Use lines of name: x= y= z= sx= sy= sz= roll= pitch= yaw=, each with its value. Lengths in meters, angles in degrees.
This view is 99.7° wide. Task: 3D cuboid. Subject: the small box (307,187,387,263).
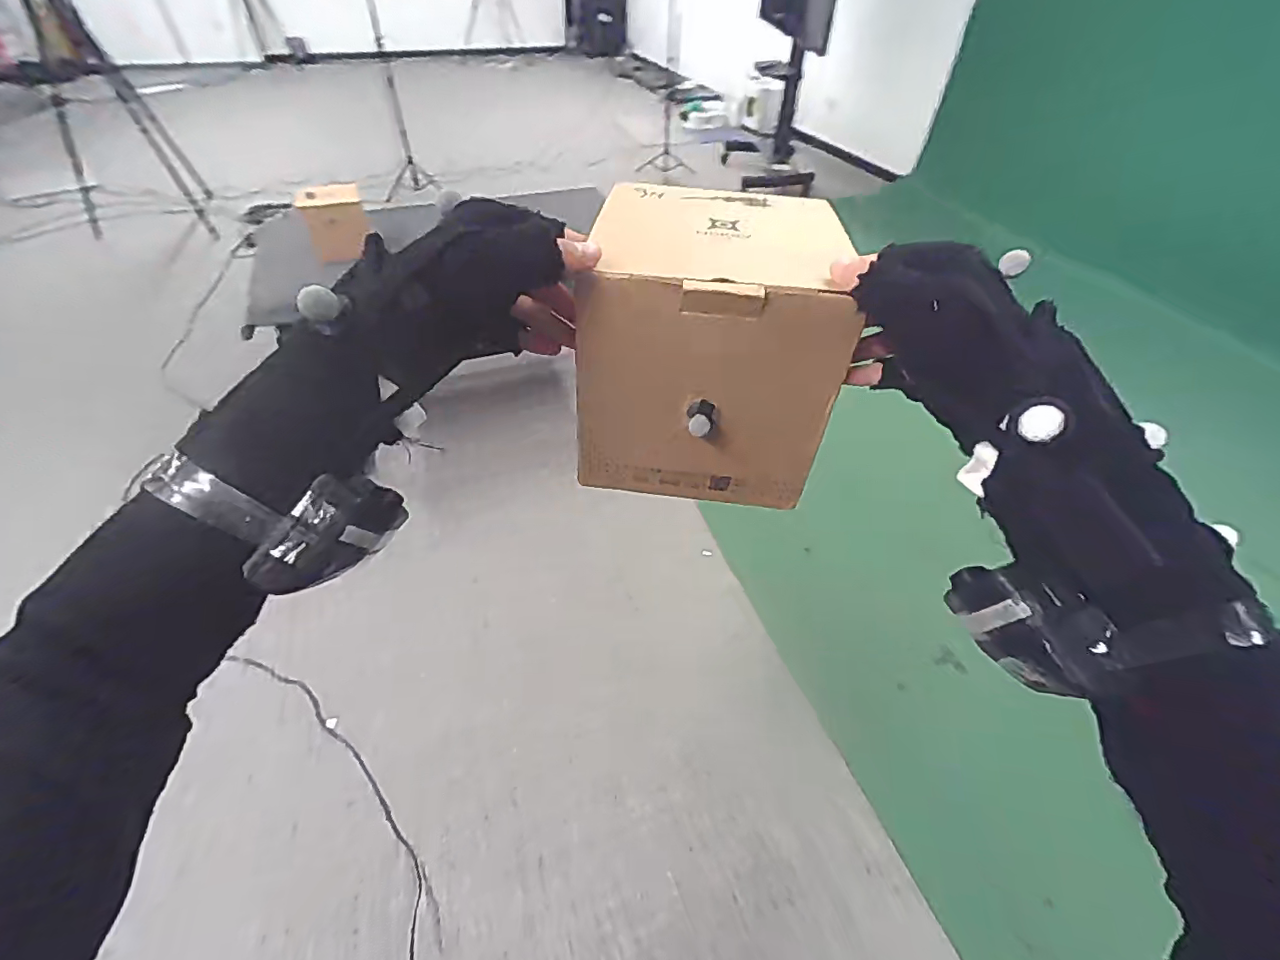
small box: x=-0.910 y=-0.793 z=1.685 sx=0.179 sy=0.176 sz=0.168 roll=-15 pitch=48 yaw=-18

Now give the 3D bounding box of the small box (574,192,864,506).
small box: x=0.049 y=-0.100 z=0.415 sx=0.168 sy=0.176 sz=0.179 roll=6 pitch=43 yaw=2
